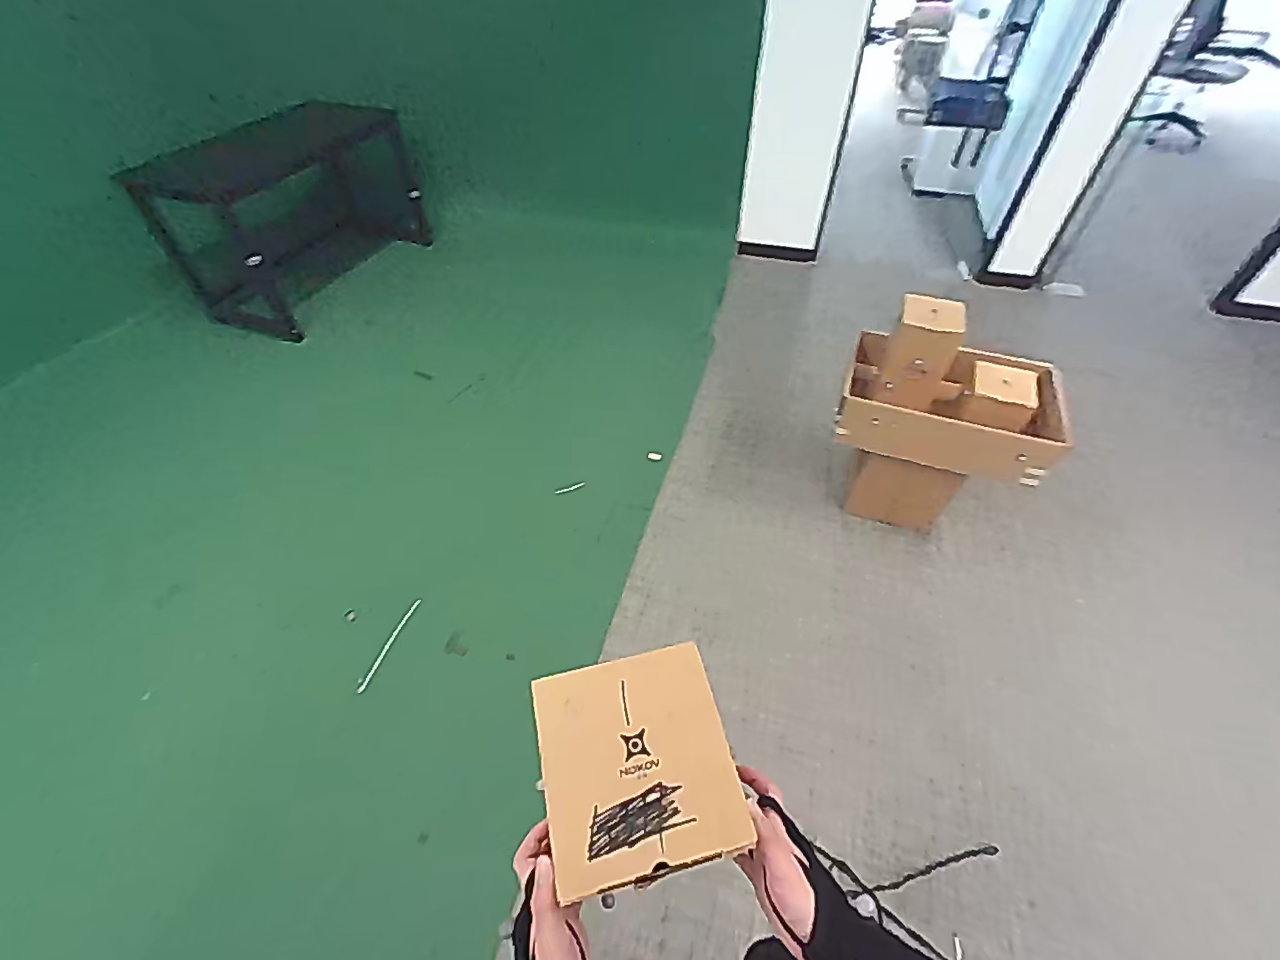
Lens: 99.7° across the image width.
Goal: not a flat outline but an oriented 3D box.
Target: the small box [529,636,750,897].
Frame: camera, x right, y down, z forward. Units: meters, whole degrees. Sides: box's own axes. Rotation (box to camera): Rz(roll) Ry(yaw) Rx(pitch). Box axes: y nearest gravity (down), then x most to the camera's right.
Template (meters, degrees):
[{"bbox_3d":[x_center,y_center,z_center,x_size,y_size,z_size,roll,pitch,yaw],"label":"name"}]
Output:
[{"bbox_3d":[-0.007,0.280,0.531,0.168,0.176,0.179,-10,54,-8],"label":"small box"}]

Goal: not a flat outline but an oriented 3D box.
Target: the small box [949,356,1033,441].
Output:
[{"bbox_3d":[1.082,-0.252,1.678,0.168,0.176,0.179,17,52,15],"label":"small box"}]

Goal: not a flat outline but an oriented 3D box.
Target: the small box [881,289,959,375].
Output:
[{"bbox_3d":[0.840,-0.445,1.630,0.168,0.176,0.179,15,51,14],"label":"small box"}]
